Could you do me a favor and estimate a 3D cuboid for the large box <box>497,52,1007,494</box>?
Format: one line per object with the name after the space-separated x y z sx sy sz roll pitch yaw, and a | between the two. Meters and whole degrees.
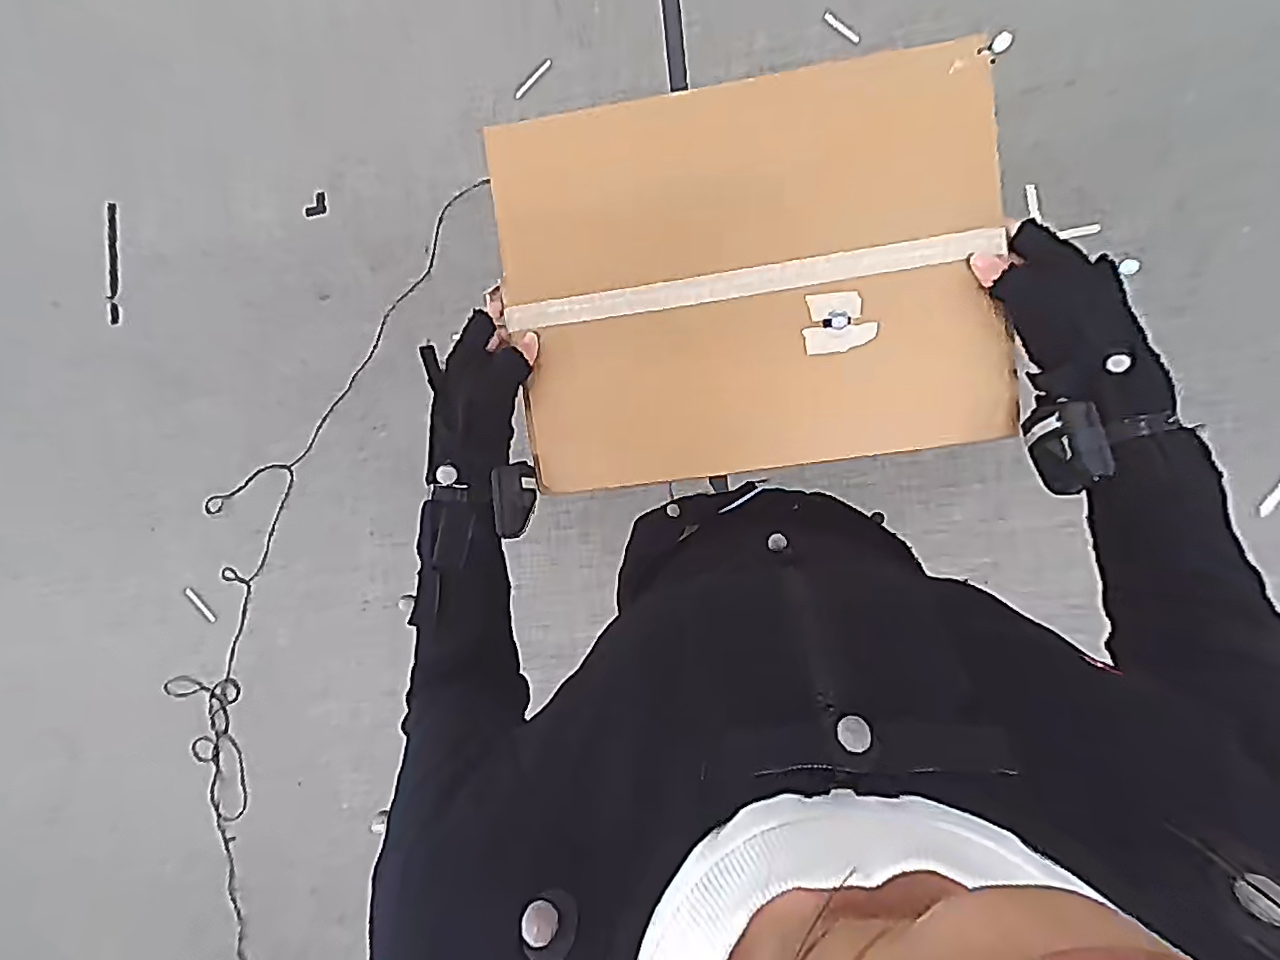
0.101 -0.178 0.608 0.408 0.320 0.320 -8 95 4 | large box
